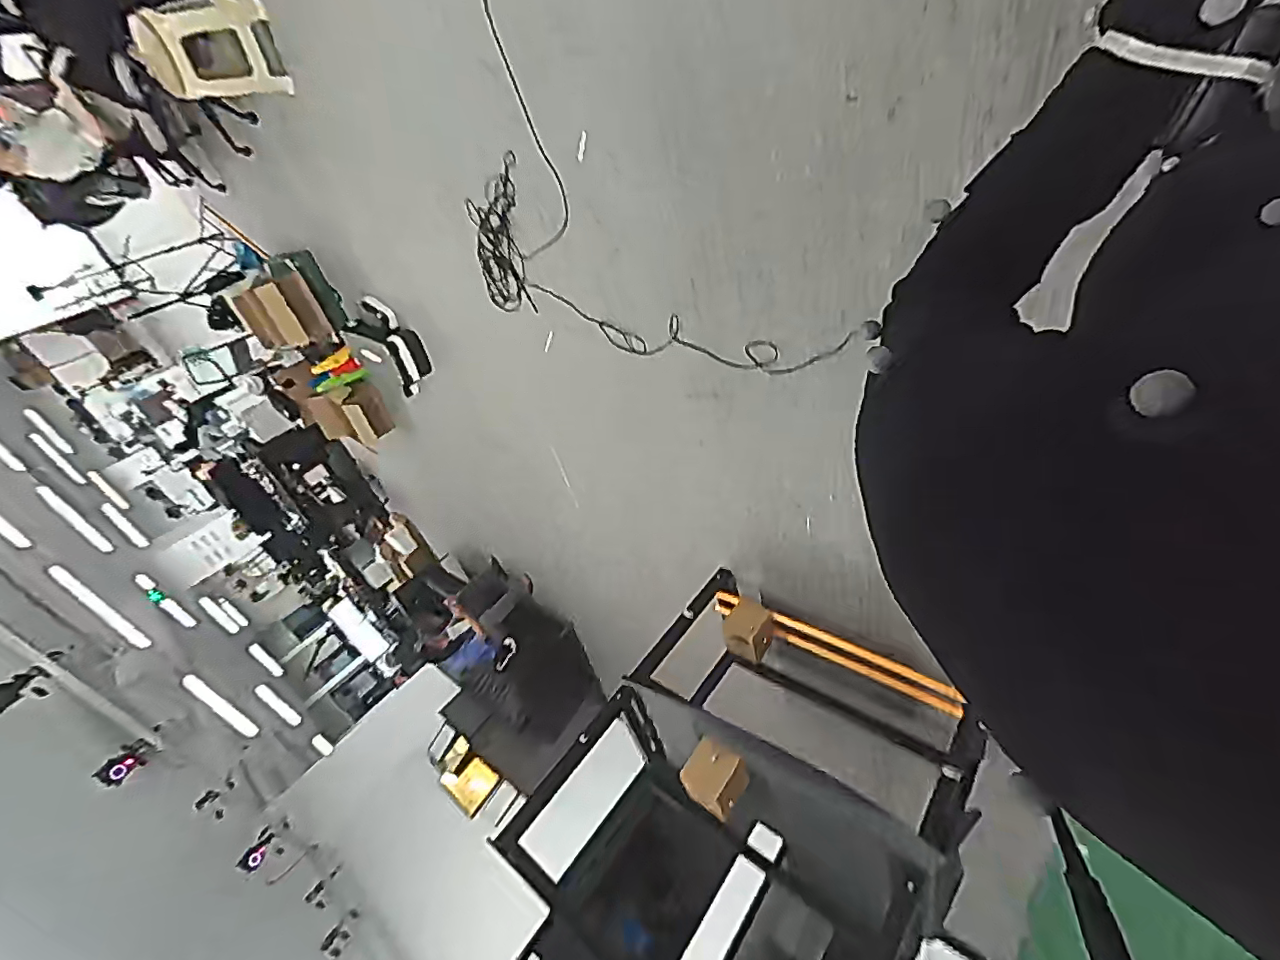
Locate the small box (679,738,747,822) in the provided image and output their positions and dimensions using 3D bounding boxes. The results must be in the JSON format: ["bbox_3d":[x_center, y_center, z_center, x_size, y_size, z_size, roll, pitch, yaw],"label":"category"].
[{"bbox_3d":[0.270,1.084,1.963,0.168,0.176,0.179,13,134,41],"label":"small box"}]
